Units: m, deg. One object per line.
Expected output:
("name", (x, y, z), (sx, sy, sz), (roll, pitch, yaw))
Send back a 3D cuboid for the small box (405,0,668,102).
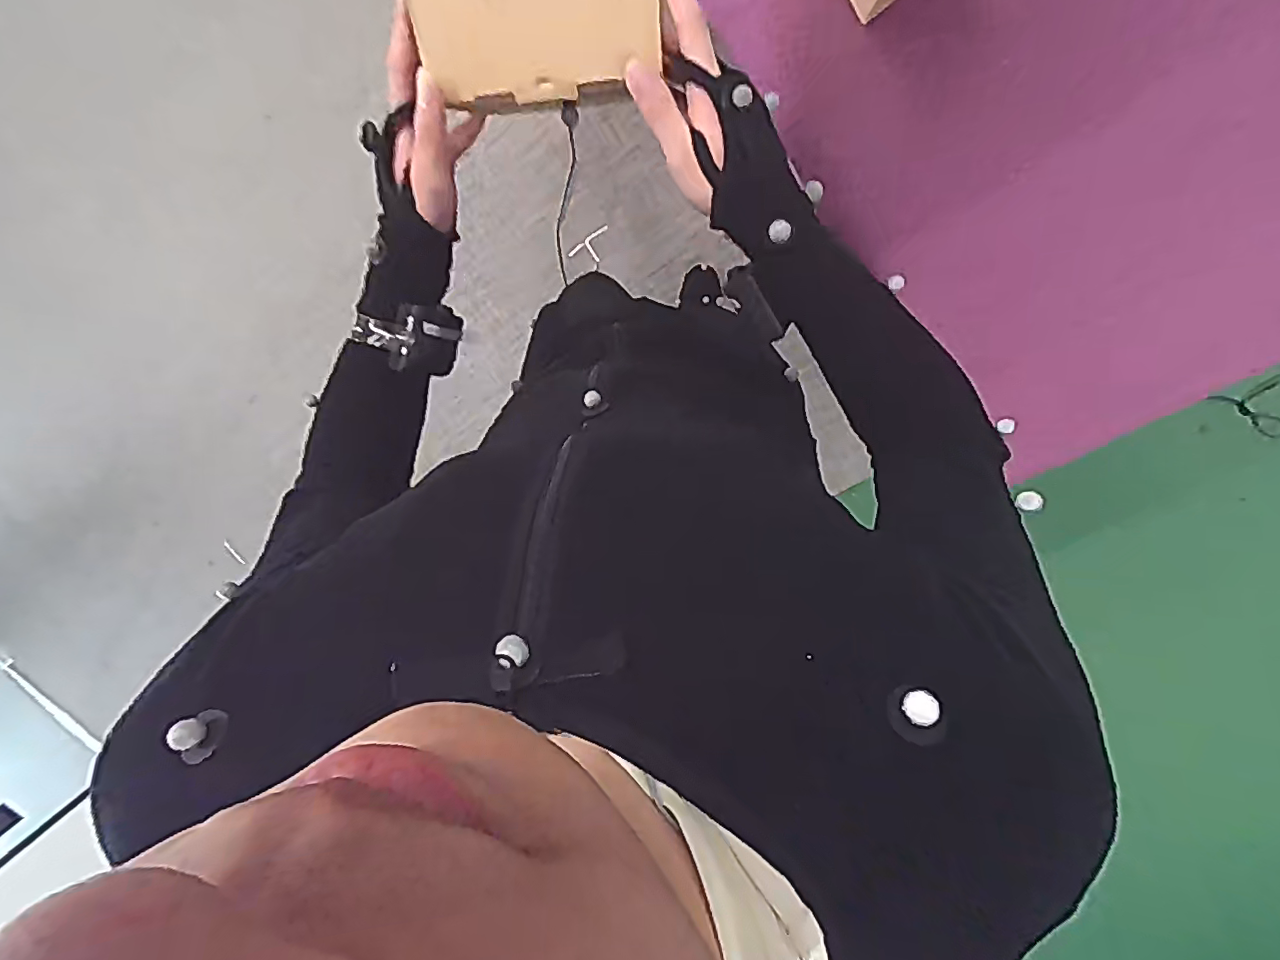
("small box", (-0.068, -0.385, 0.390), (0.168, 0.176, 0.179), (-2, 123, 6))
